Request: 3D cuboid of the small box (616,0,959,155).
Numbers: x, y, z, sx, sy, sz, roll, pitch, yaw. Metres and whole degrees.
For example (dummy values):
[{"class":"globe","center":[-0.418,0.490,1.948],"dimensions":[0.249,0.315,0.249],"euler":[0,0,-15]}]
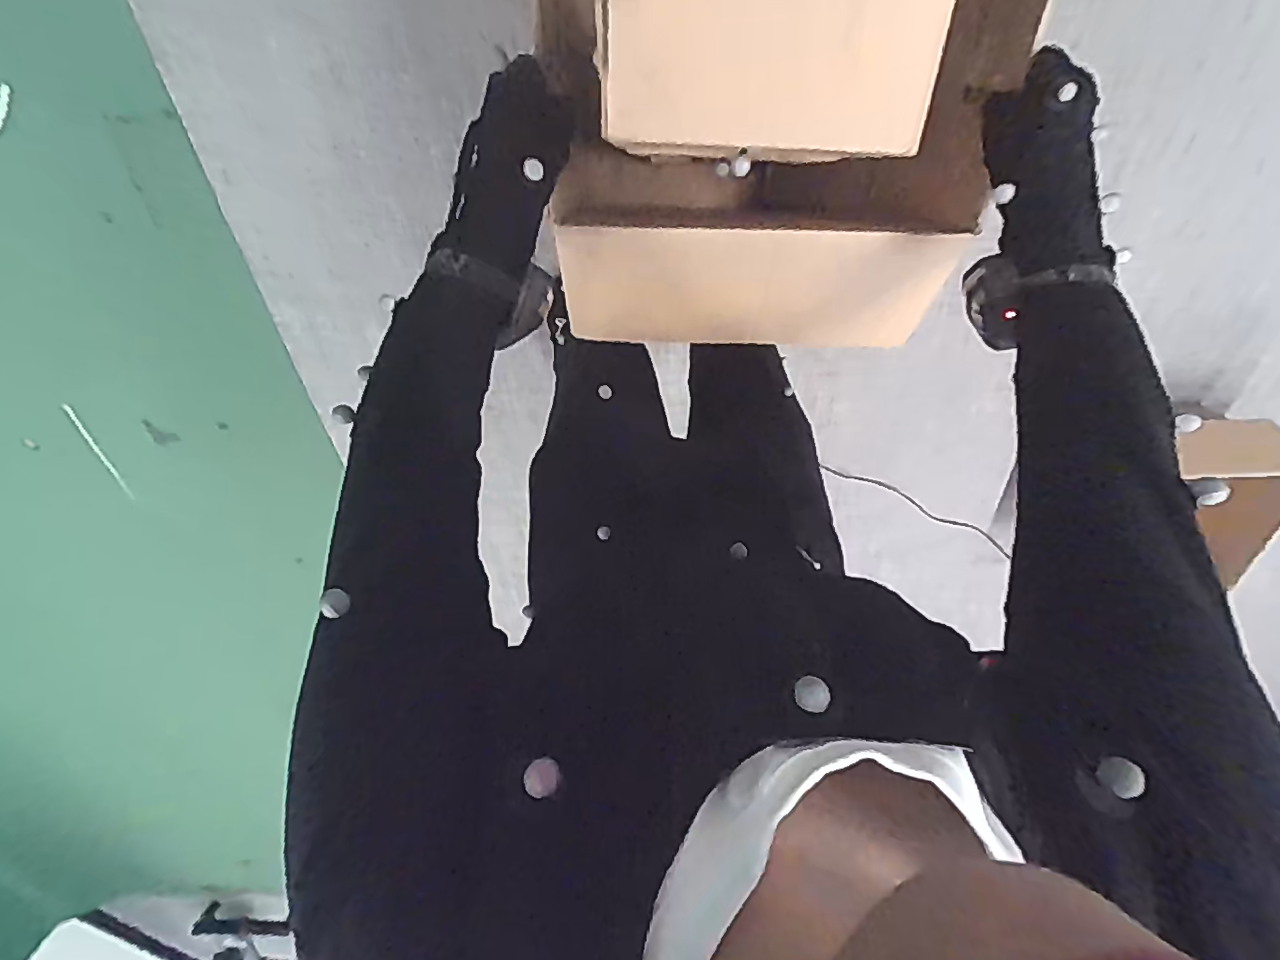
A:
[{"class":"small box","center":[0.080,-0.301,0.335],"dimensions":[0.179,0.176,0.168],"euler":[2,121,2]}]
